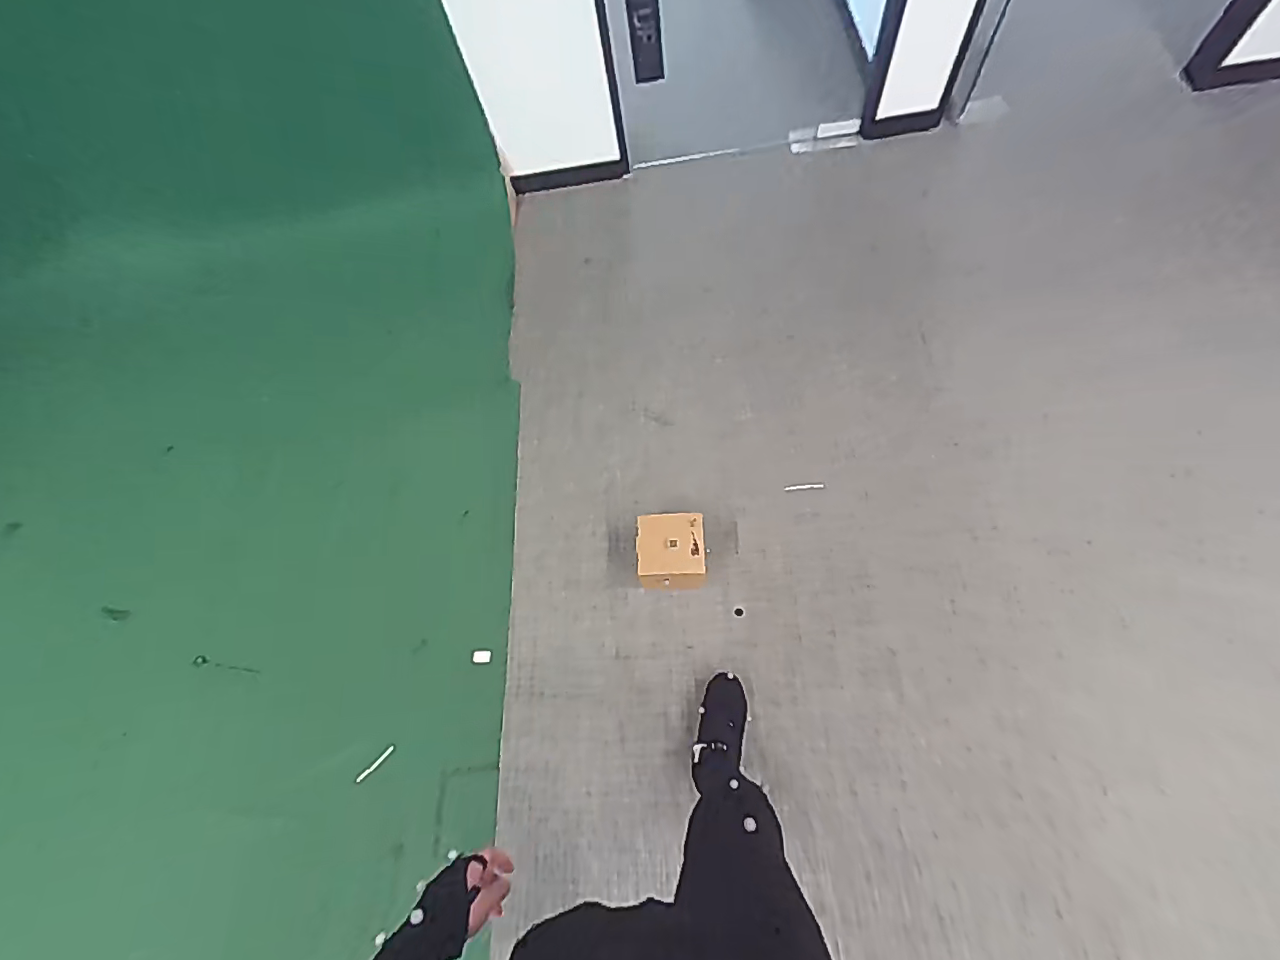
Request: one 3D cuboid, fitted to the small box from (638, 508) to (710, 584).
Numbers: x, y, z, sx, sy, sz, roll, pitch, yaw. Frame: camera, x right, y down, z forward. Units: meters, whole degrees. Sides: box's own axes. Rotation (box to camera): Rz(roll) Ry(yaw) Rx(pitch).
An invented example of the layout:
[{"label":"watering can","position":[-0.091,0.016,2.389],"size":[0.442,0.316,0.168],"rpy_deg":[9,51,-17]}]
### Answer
[{"label":"small box","position":[0.095,0.183,1.461],"size":[0.179,0.176,0.168],"rpy_deg":[-3,67,8]}]
